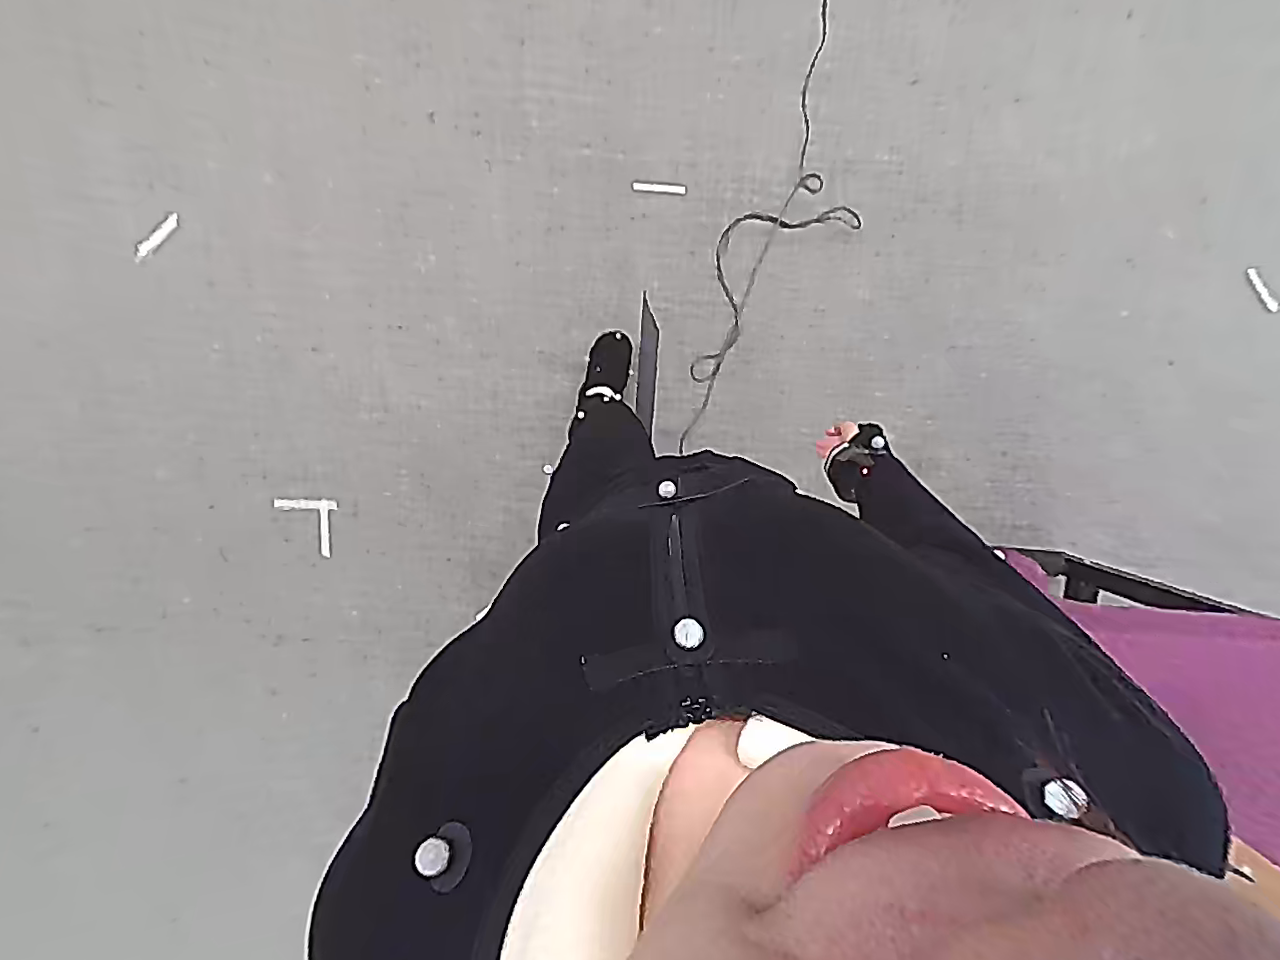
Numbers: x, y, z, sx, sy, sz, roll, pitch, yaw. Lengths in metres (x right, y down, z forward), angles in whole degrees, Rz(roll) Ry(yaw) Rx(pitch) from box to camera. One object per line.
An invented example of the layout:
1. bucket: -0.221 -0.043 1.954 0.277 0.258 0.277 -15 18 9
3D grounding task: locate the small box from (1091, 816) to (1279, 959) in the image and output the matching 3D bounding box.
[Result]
1. small box: 0.763 0.587 0.724 0.179 0.176 0.168 7 96 -2
